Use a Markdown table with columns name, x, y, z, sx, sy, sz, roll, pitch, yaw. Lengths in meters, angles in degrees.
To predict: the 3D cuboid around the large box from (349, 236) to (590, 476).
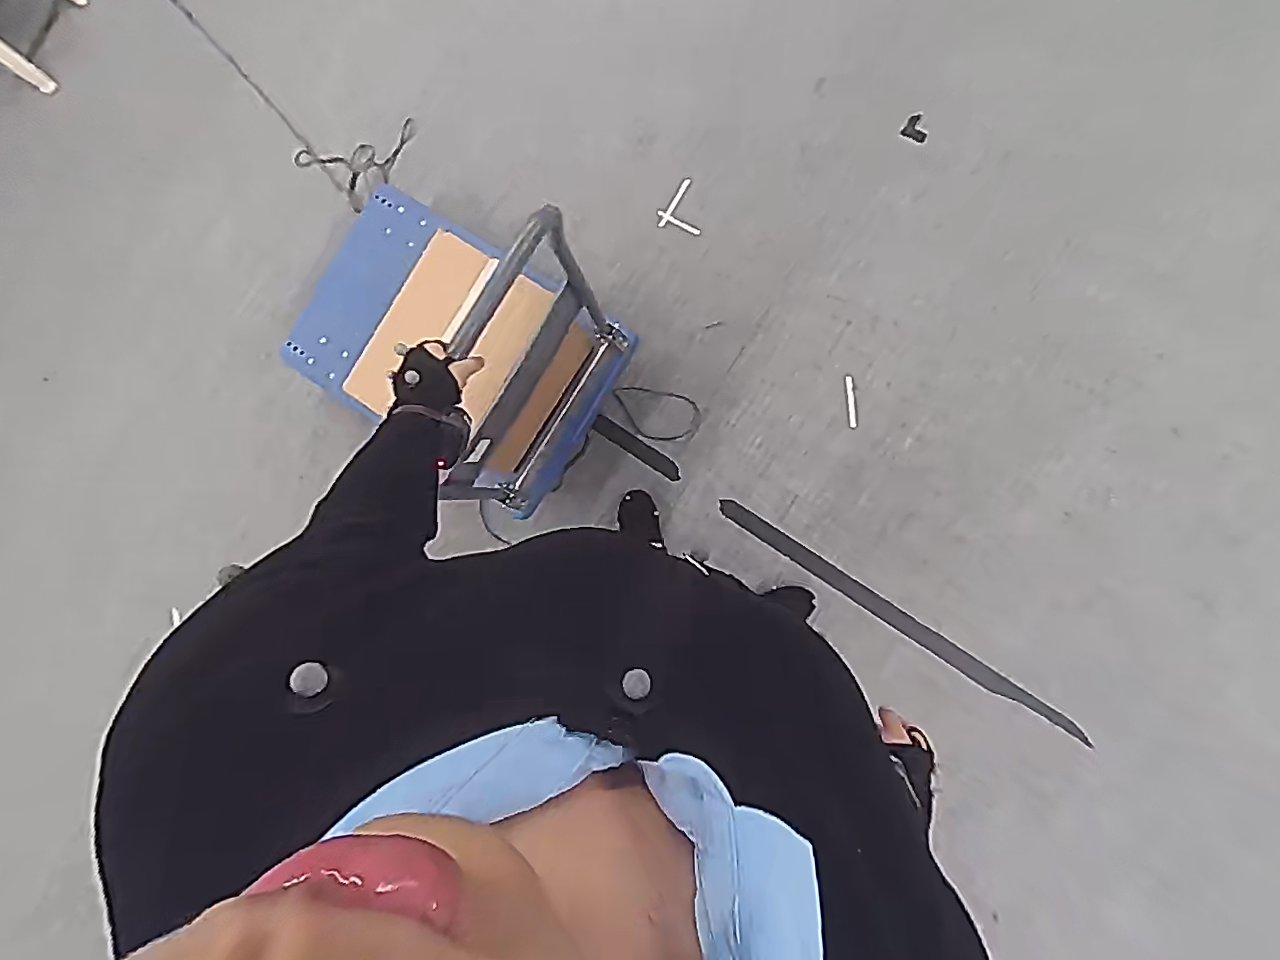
| name | x | y | z | sx | sy | sz | roll | pitch | yaw |
| --- | --- | --- | --- | --- | --- | --- | --- | --- | --- |
| large box | -0.376 | -0.265 | 1.276 | 0.320 | 0.320 | 0.408 | 33 | 91 | 9 |
